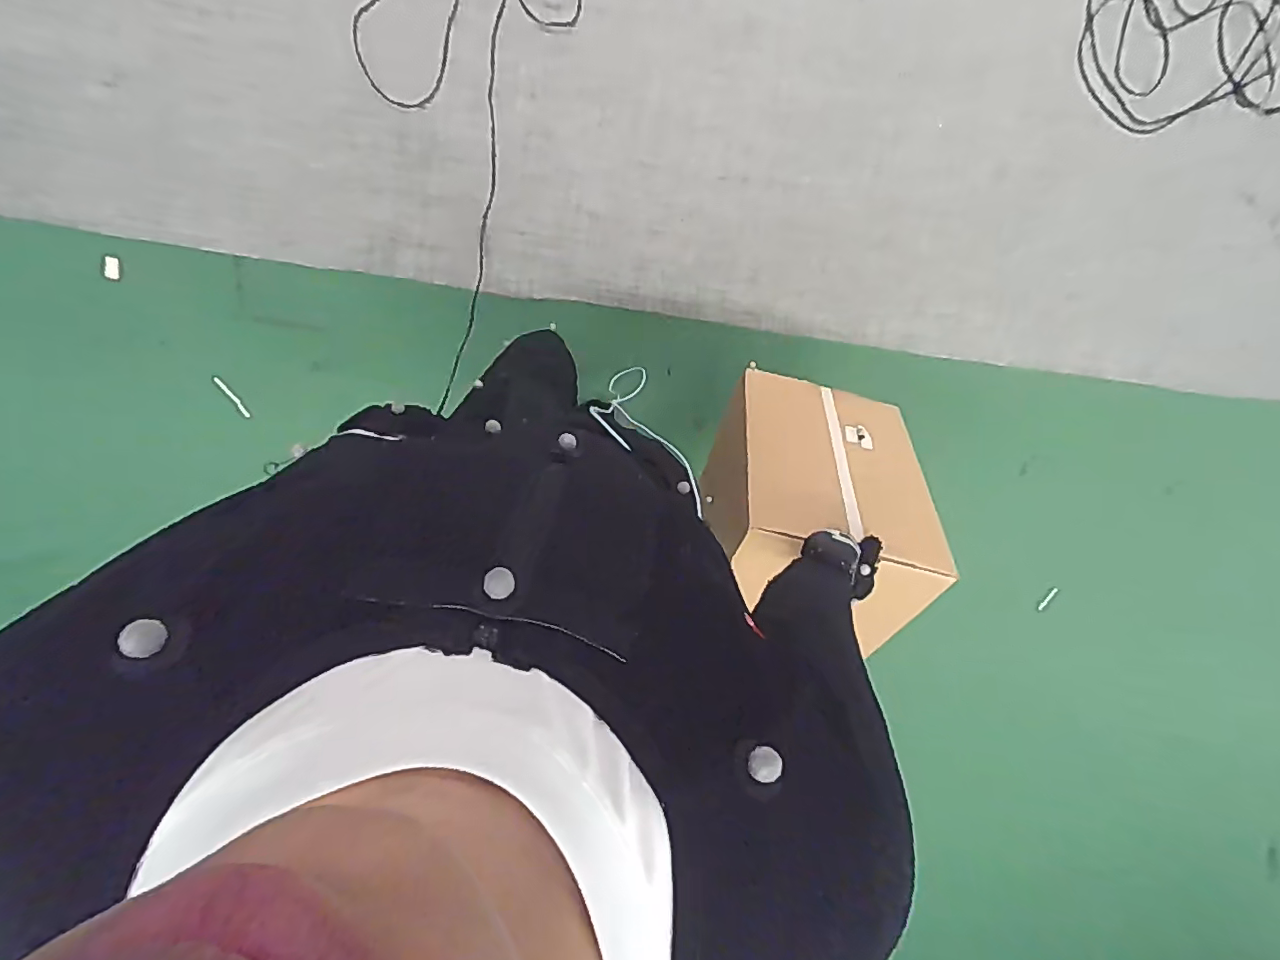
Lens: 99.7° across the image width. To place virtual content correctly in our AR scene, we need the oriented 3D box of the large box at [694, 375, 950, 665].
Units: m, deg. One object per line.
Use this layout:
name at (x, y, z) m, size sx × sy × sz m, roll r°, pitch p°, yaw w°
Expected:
large box at (0.293, 0.072, 1.012) m, size 0.320 × 0.408 × 0.320 m, roll 15°, pitch 134°, yaw -4°
